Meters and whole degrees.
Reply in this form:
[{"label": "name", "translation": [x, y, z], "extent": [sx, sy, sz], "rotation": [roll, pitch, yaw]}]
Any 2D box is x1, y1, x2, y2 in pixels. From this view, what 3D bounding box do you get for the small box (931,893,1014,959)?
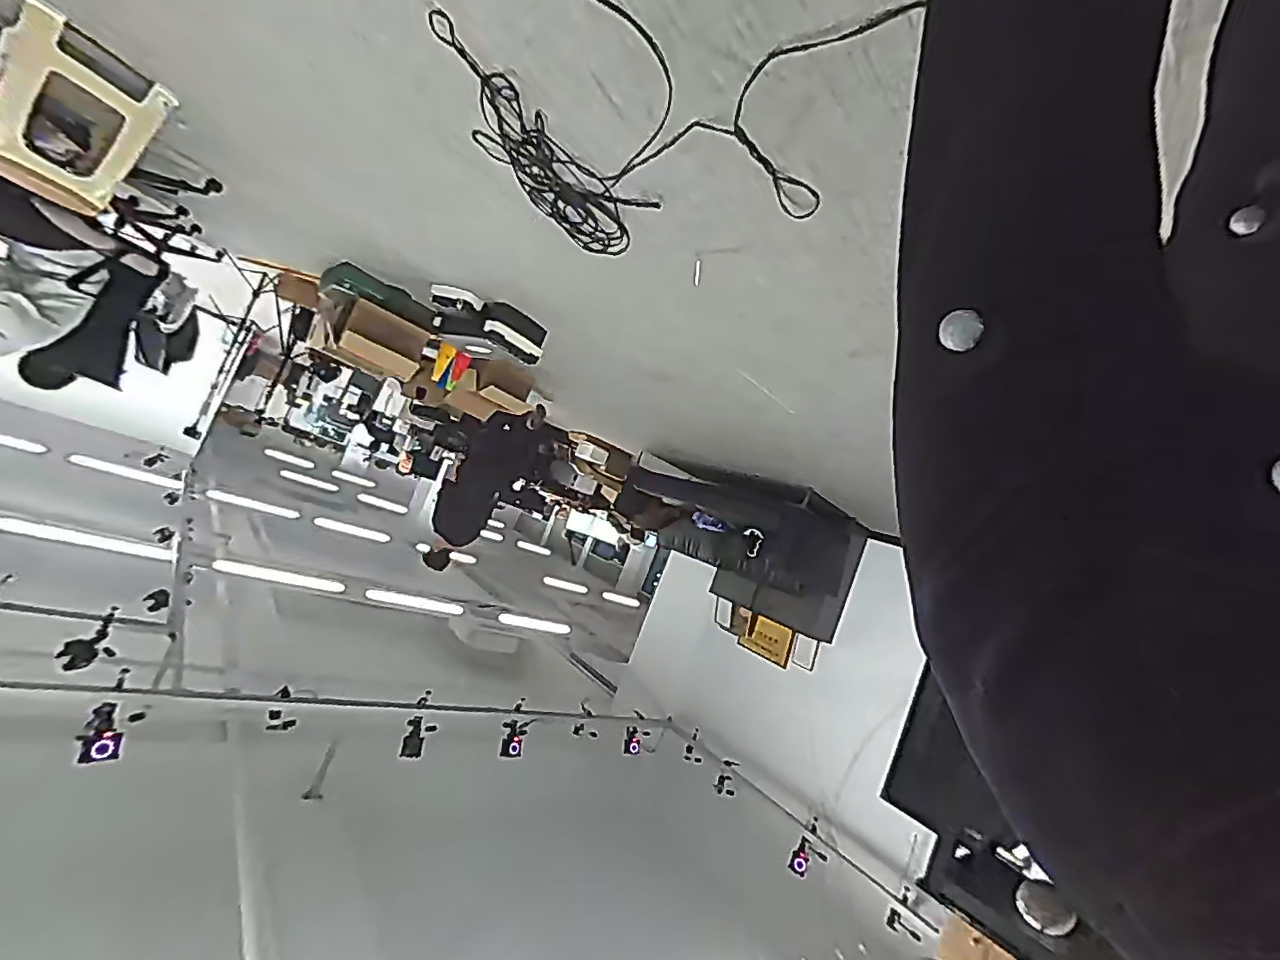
[{"label": "small box", "translation": [1.009, 1.401, 1.636], "extent": [0.168, 0.176, 0.179], "rotation": [16, 173, 42]}]
